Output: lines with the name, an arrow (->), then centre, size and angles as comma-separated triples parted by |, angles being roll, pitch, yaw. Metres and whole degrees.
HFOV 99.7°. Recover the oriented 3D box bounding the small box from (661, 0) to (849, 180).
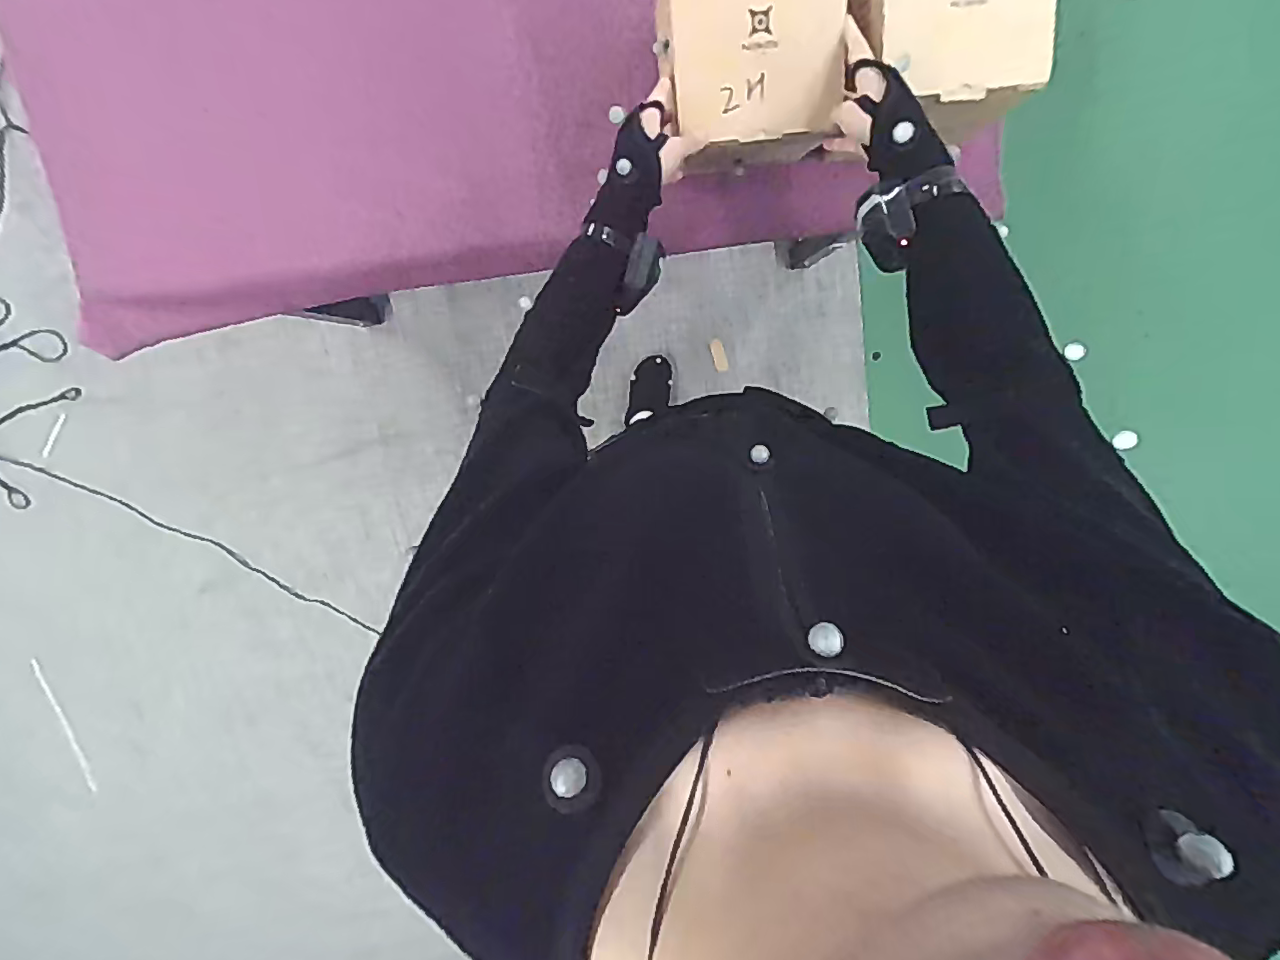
small box -> 0.113, -0.443, 0.586 | 0.168, 0.176, 0.179 | -5, 111, 1
